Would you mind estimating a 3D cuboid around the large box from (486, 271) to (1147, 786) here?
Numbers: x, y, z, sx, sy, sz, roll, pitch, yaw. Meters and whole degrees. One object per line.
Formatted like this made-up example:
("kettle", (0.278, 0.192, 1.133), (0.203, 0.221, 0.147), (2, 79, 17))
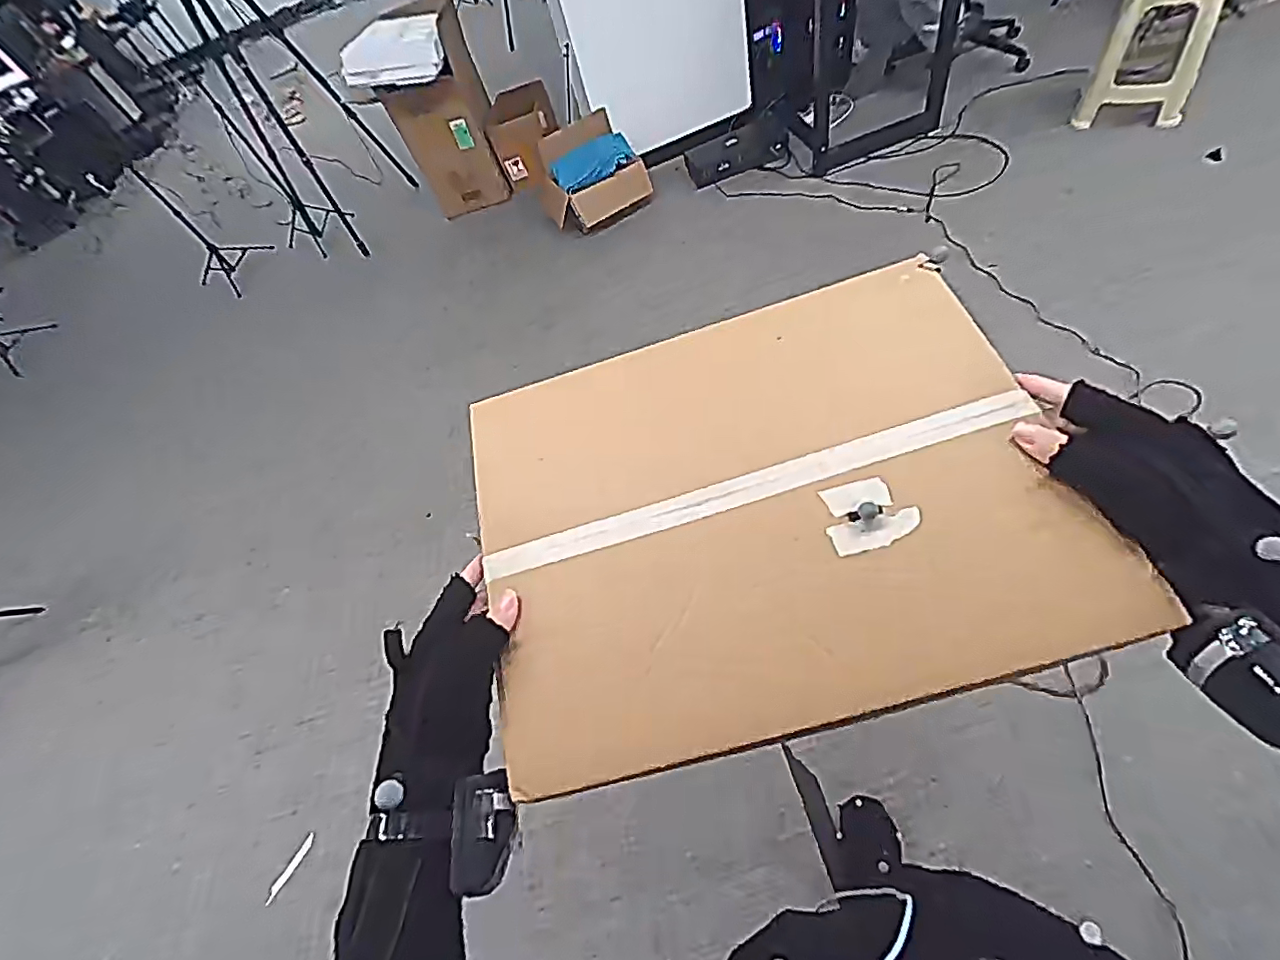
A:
("large box", (0.112, 0.073, 0.536), (0.408, 0.320, 0.320), (-18, 62, 4))
